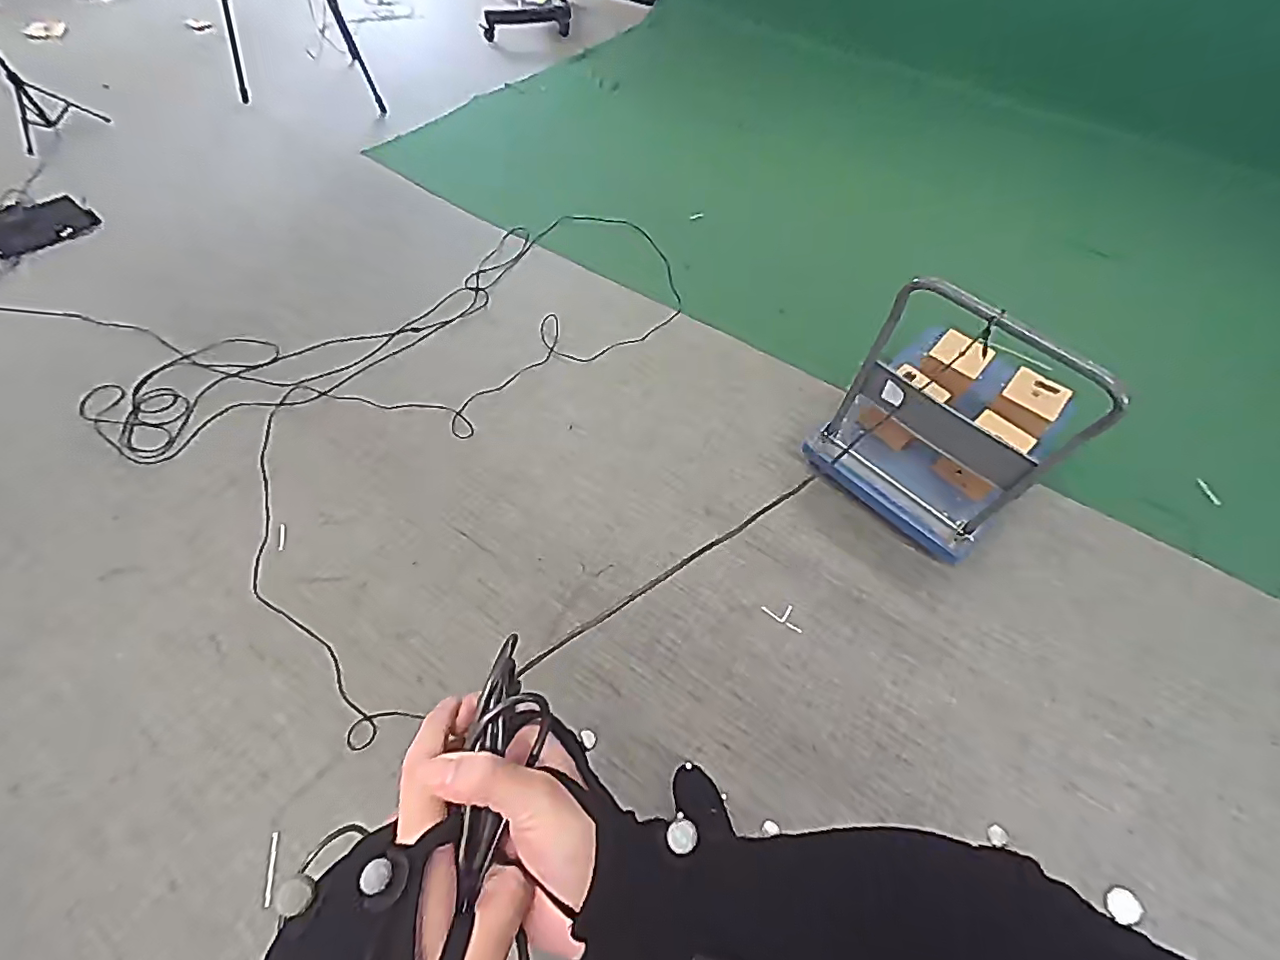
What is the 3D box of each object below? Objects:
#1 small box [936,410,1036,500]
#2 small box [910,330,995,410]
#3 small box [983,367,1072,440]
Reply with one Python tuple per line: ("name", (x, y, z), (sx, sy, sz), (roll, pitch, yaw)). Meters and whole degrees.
("small box", (1.054, -0.074, 1.662), (0.179, 0.176, 0.168), (-37, 66, -23))
("small box", (1.063, -0.373, 1.857), (0.168, 0.176, 0.179), (39, 63, 20))
("small box", (1.249, -0.228, 1.769), (0.168, 0.176, 0.179), (38, 64, 21))
